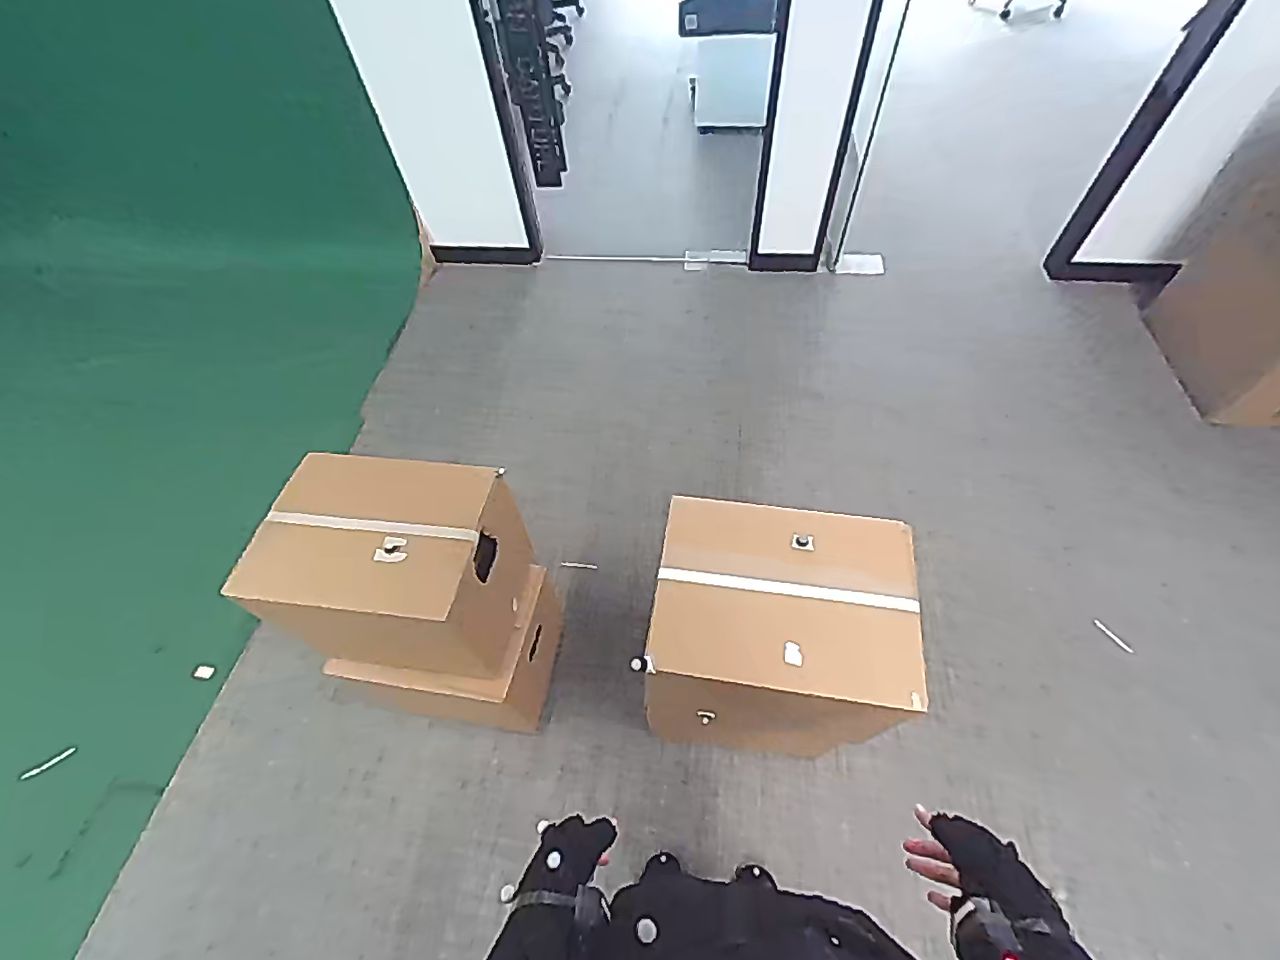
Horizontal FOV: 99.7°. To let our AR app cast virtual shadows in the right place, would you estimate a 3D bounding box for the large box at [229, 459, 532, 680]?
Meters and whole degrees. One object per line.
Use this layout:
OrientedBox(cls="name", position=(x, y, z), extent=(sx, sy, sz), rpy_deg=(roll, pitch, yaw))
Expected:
OrientedBox(cls="large box", position=(-0.475, 0.185, 1.095), extent=(0.408, 0.320, 0.320), rpy_deg=(6, 53, 6))
